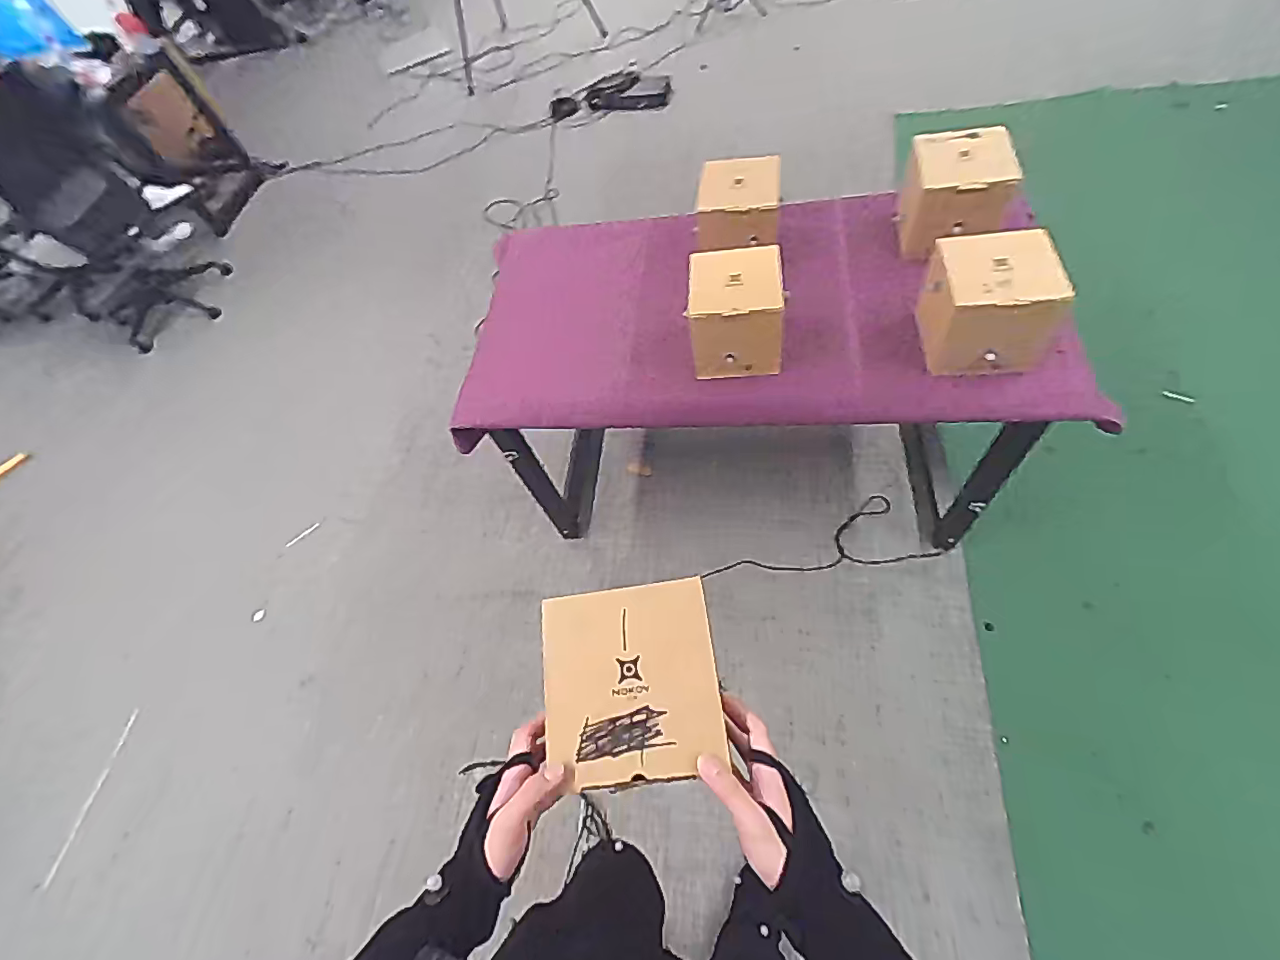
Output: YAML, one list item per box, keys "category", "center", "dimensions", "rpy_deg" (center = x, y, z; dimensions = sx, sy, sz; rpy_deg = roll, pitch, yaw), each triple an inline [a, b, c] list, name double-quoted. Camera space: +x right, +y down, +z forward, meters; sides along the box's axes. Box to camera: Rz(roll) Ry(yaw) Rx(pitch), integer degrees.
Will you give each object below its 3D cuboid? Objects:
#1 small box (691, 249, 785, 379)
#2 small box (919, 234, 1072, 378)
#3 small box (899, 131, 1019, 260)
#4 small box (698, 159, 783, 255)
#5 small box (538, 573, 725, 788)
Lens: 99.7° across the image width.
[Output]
- category: "small box"
  center: [0.190, -0.320, 1.057]
  dimensions: [0.168, 0.176, 0.179]
  rpy_deg: [-1, 59, 10]
- category: "small box"
  center: [0.610, -0.302, 0.956]
  dimensions: [0.168, 0.176, 0.179]
  rpy_deg: [0, 59, 13]
- category: "small box"
  center: [0.644, -0.574, 1.113]
  dimensions: [0.168, 0.176, 0.179]
  rpy_deg: [2, 63, 13]
- category: "small box"
  center: [0.227, -0.577, 1.203]
  dimensions: [0.168, 0.176, 0.179]
  rpy_deg: [4, 61, 13]
- category: "small box"
  center: [-0.004, 0.215, 0.581]
  dimensions: [0.168, 0.176, 0.179]
  rpy_deg: [-10, 64, 5]
